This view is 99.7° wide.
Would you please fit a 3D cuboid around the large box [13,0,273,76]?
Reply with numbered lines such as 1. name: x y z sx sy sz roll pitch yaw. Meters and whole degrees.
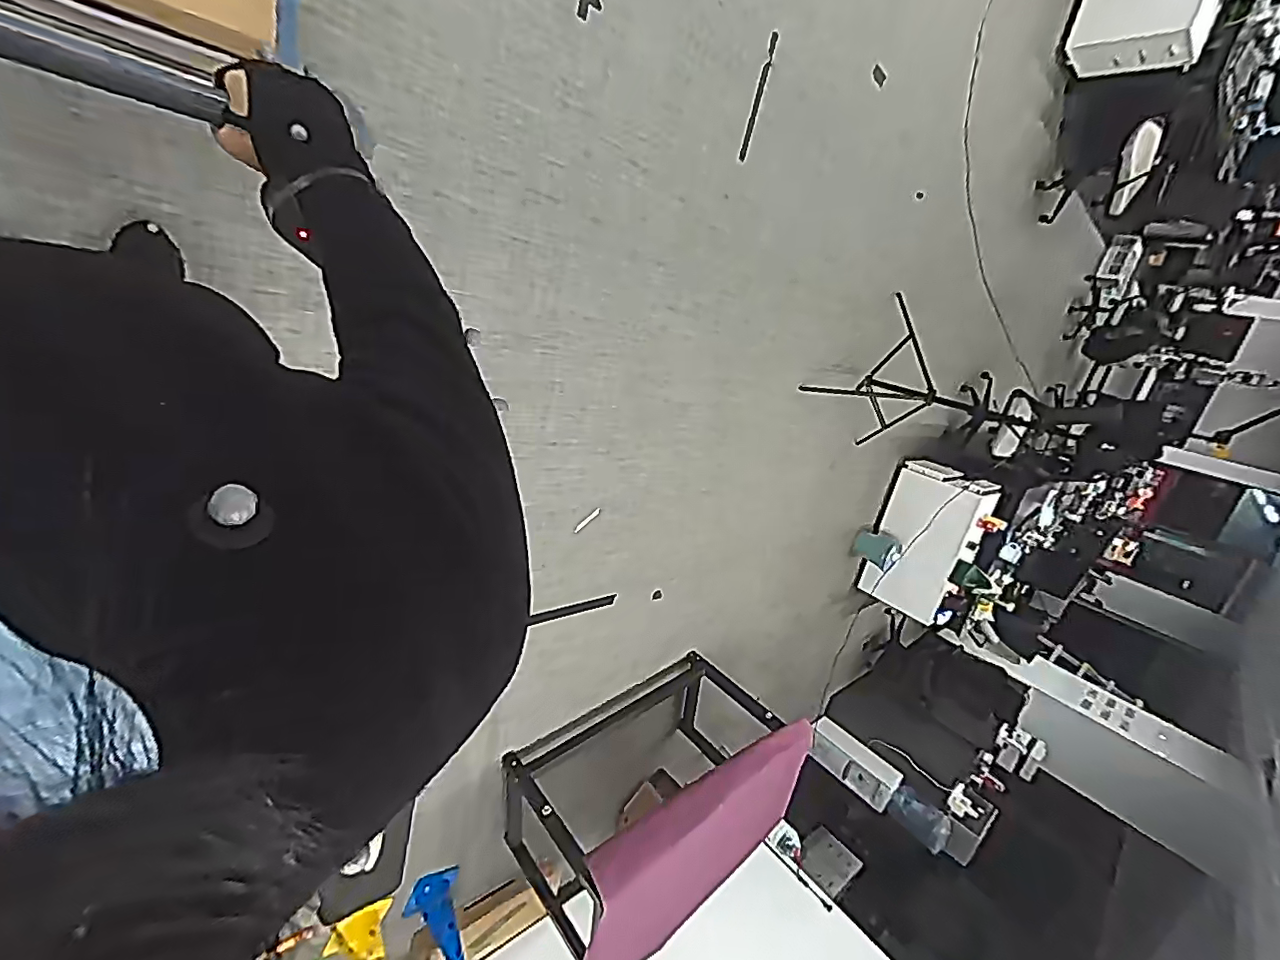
1. large box: -0.719 -0.764 0.660 0.408 0.320 0.320 -5 119 -43
